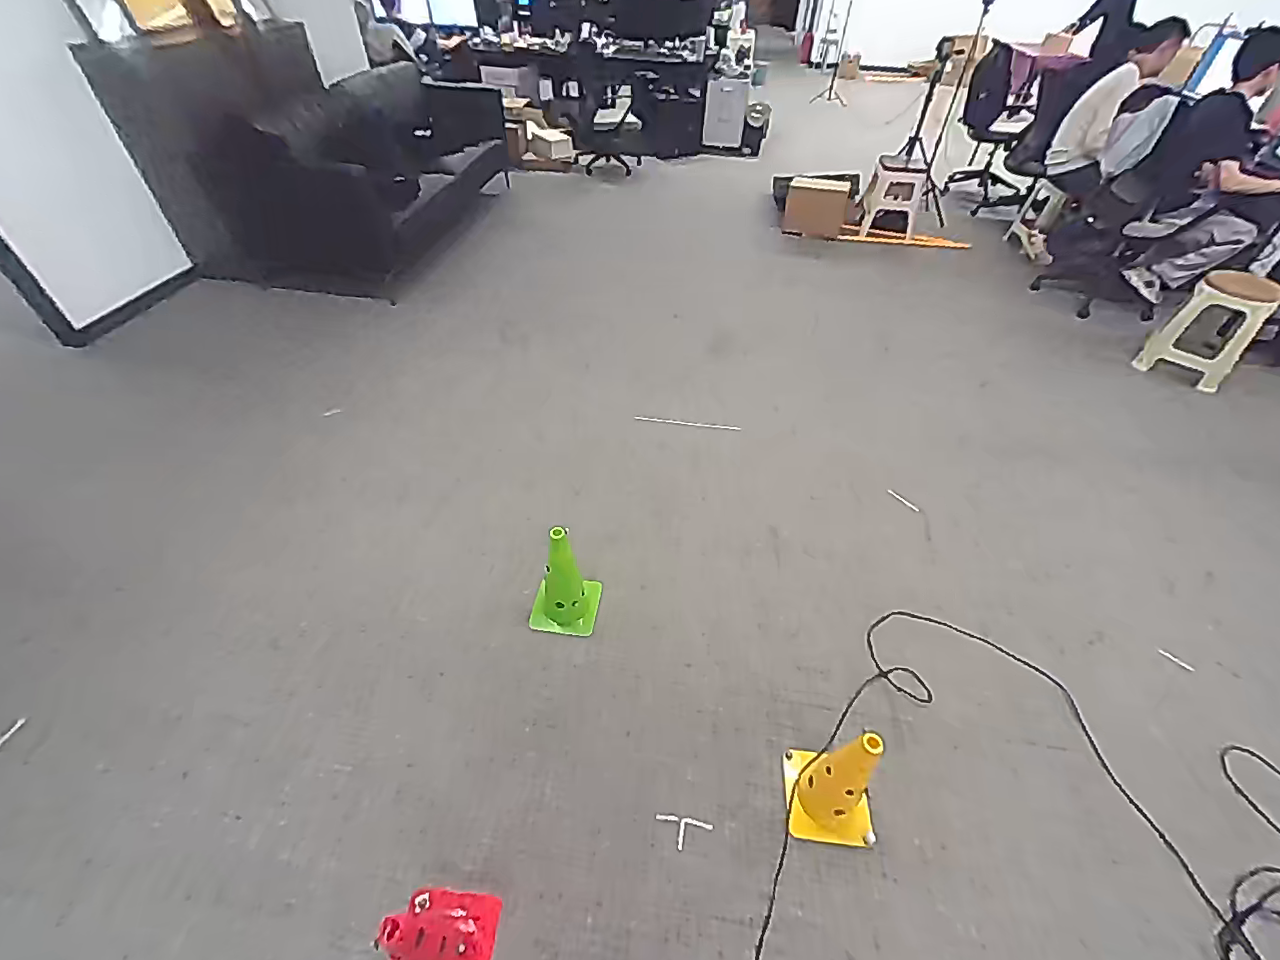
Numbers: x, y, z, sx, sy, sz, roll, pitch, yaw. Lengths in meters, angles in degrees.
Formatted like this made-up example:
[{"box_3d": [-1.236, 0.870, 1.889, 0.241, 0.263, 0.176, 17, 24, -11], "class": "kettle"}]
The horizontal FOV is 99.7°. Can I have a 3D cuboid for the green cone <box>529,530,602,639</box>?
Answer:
[{"box_3d": [-0.225, 0.279, 1.583, 0.202, 0.368, 0.200, 7, 45, 4], "class": "green cone"}]

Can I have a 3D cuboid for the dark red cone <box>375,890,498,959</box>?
[{"box_3d": [-0.395, 0.839, 0.970, 0.202, 0.394, 0.201, 3, 46, 2], "class": "dark red cone"}]
